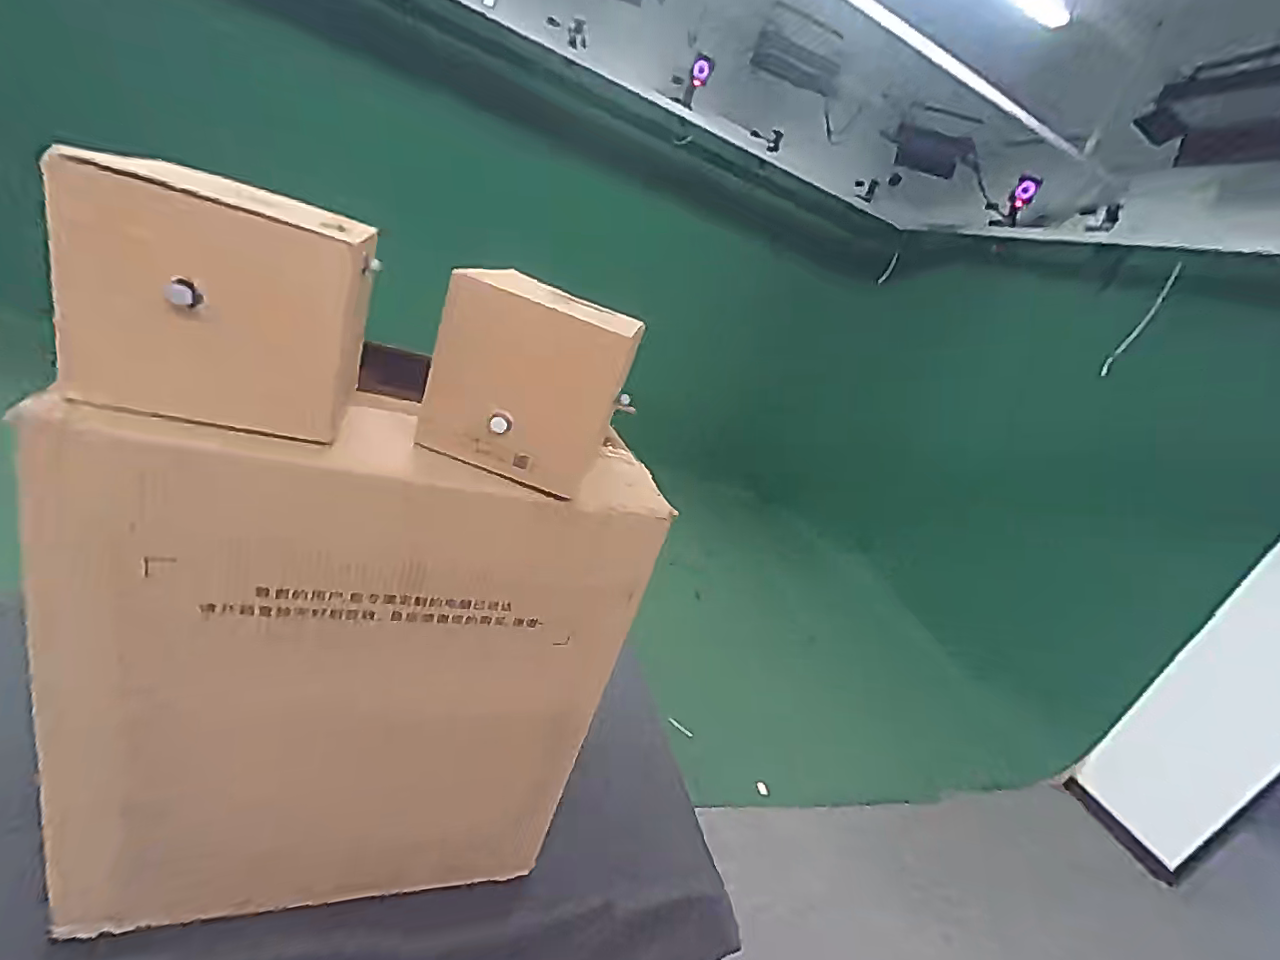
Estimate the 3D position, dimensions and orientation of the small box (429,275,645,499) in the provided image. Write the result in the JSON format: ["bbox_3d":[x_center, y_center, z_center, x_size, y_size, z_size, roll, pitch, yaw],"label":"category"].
[{"bbox_3d":[-0.104,-0.104,0.579,0.168,0.176,0.179,20,21,-3],"label":"small box"}]

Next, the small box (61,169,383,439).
[{"bbox_3d":[-0.338,-0.148,0.473,0.179,0.176,0.168,9,24,-23],"label":"small box"}]
